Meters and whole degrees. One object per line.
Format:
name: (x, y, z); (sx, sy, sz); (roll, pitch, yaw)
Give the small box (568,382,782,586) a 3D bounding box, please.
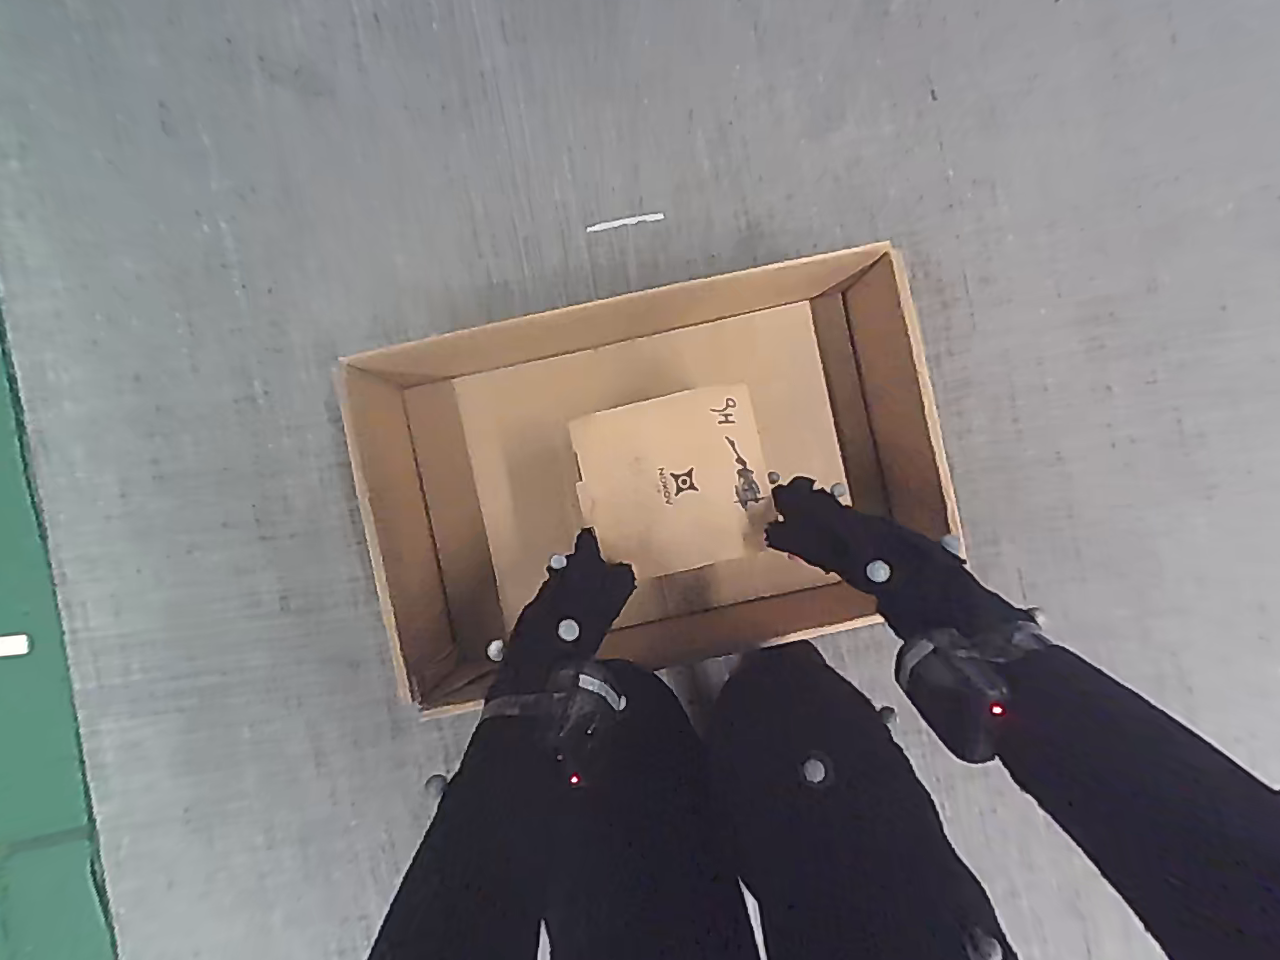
small box: (0.035, 0.007, 0.600); (0.179, 0.176, 0.168); (-16, 88, 0)
